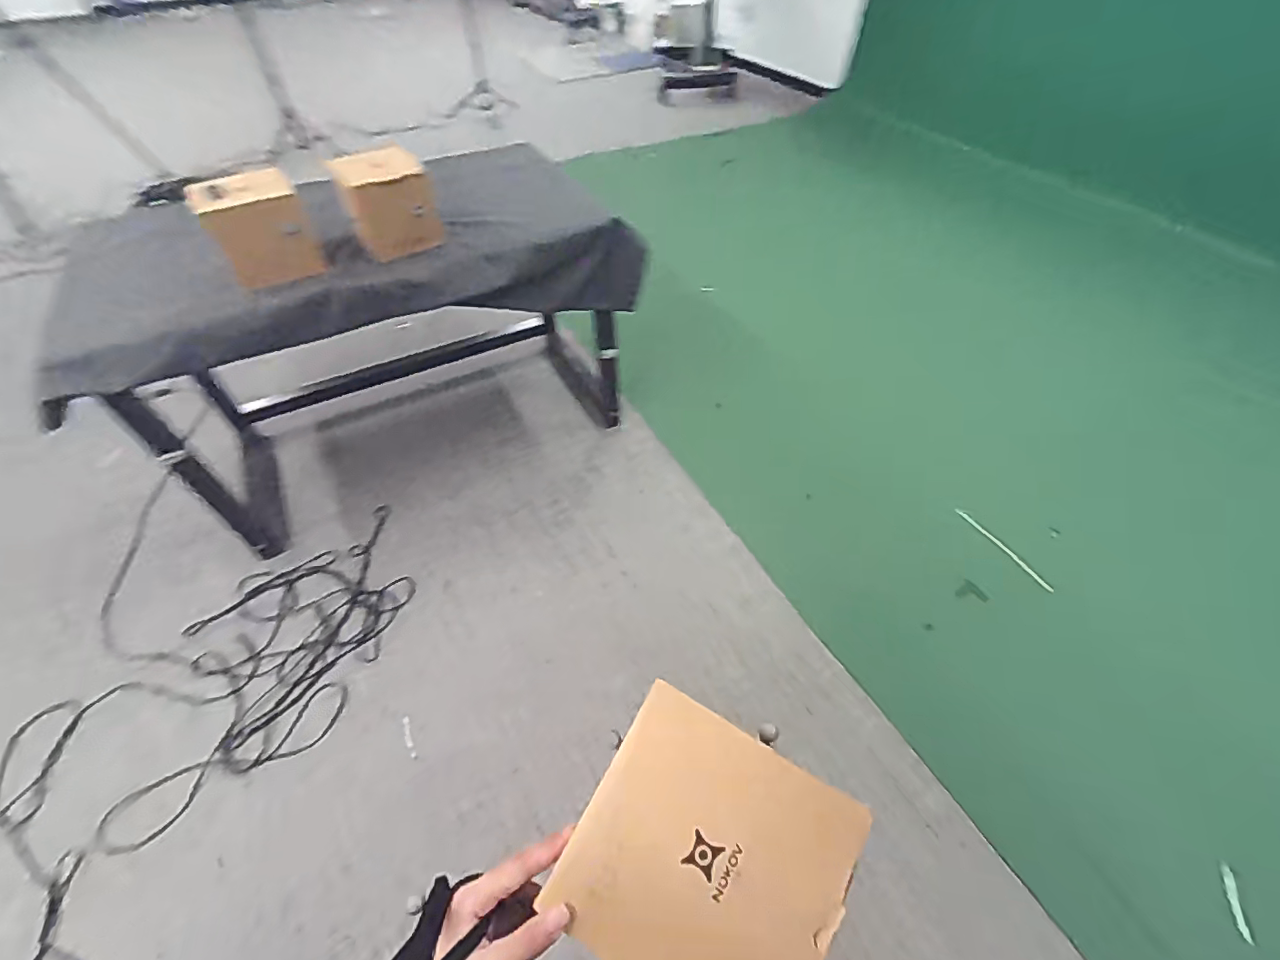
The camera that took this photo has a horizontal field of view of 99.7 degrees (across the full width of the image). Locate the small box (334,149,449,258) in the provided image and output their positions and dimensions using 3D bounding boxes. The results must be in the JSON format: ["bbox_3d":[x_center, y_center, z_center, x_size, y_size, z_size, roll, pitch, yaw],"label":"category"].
[{"bbox_3d":[-0.561,-0.629,1.240,0.168,0.176,0.179,-28,54,-23],"label":"small box"}]
